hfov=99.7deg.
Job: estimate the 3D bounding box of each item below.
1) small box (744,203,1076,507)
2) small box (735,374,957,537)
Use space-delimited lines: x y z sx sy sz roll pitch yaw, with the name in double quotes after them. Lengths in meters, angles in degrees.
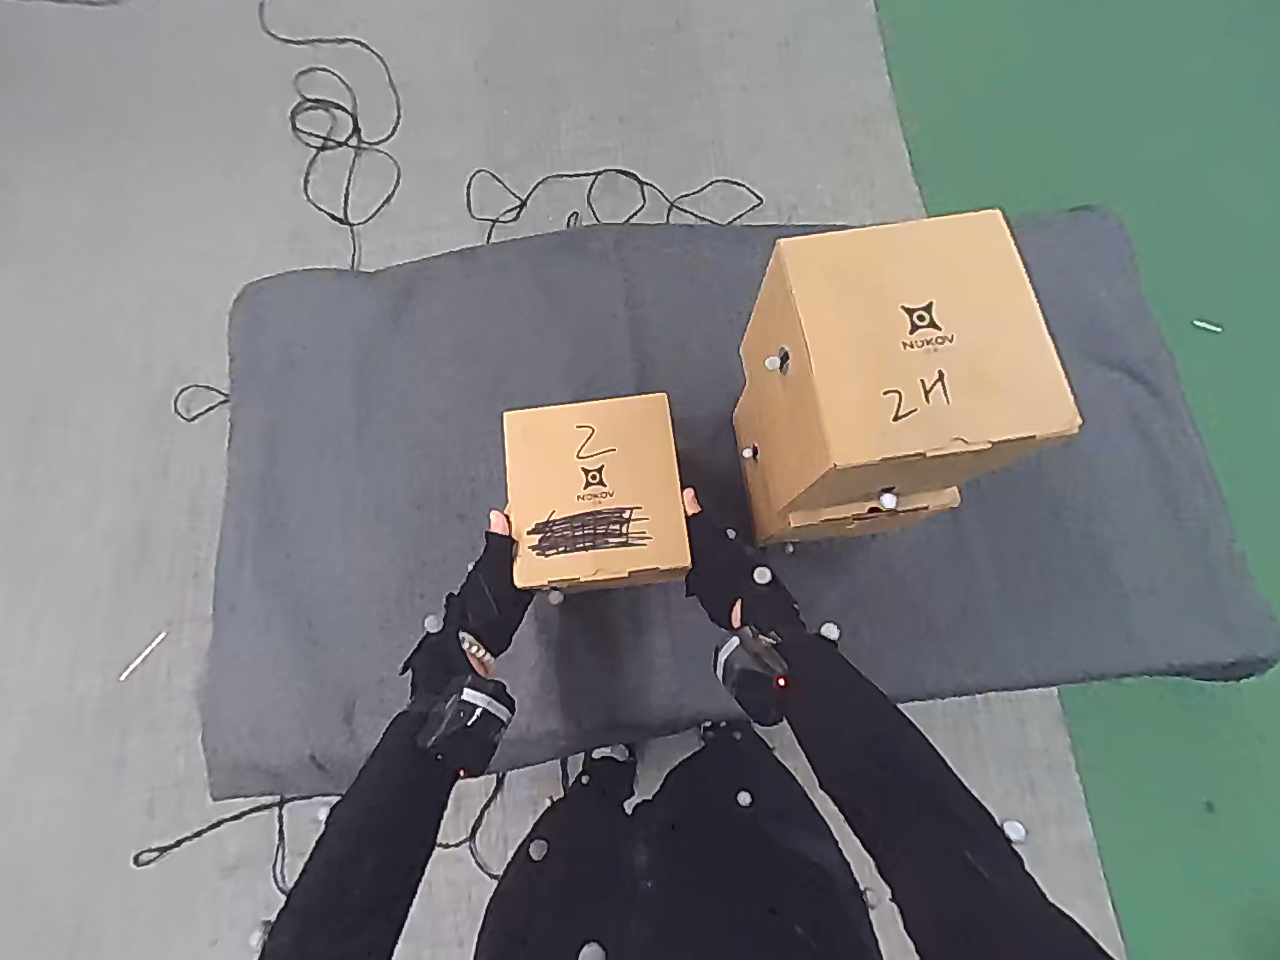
0.190 -0.087 0.444 0.168 0.176 0.179 -9 77 0 "small box"
0.208 -0.035 0.600 0.168 0.176 0.179 -7 76 -1 "small box"
